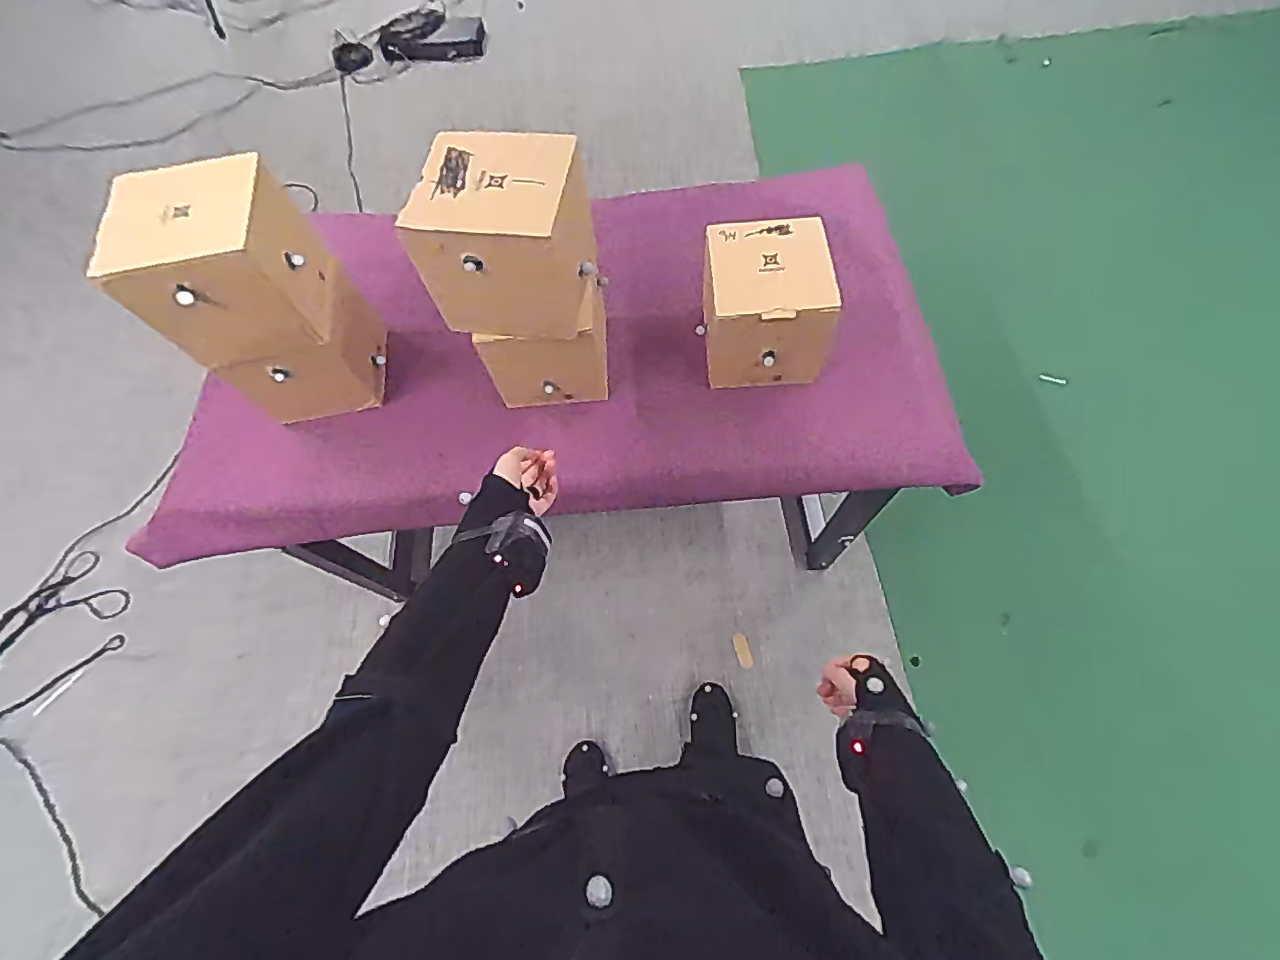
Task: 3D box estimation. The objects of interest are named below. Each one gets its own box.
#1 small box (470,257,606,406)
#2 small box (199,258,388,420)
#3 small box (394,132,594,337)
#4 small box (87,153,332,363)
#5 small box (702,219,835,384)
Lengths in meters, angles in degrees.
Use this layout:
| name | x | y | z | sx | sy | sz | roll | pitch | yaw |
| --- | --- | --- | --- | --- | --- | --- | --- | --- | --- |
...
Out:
| name | x | y | z | sx | sy | sz | roll | pitch | yaw |
| --- | --- | --- | --- | --- | --- | --- | --- | --- | --- |
| small box | -0.144 | -0.233 | 0.826 | 0.168 | 0.176 | 0.179 | -4 | 65 | 2 |
| small box | -0.521 | -0.210 | 0.841 | 0.179 | 0.176 | 0.168 | -9 | 66 | -1 |
| small box | -0.165 | -0.299 | 0.676 | 0.179 | 0.176 | 0.168 | 6 | 66 | 6 |
| small box | -0.525 | -0.274 | 0.692 | 0.179 | 0.176 | 0.168 | -12 | 66 | -1 |
| small box | 0.181 | -0.258 | 0.815 | 0.168 | 0.176 | 0.179 | -2 | 65 | 3 |
